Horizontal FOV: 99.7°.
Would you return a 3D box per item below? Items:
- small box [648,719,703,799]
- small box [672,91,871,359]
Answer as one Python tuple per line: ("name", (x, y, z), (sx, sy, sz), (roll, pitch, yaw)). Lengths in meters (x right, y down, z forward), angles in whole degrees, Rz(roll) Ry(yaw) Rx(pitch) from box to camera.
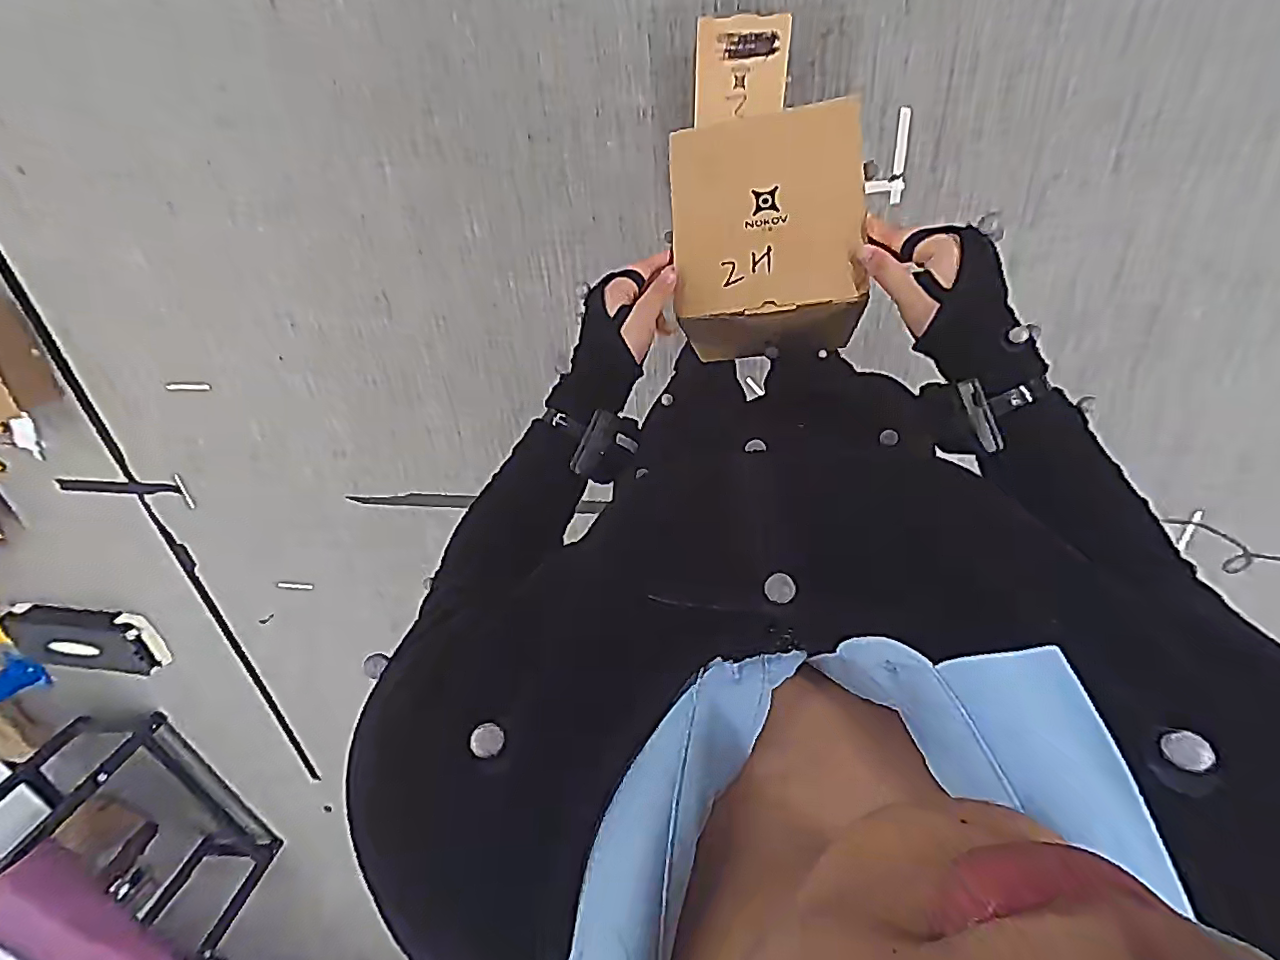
("small box", (0.125, 0.942, 1.830), (0.168, 0.176, 0.179), (0, 119, 10))
("small box", (0.129, -0.234, 0.545), (0.168, 0.176, 0.179), (-3, 89, 15))
